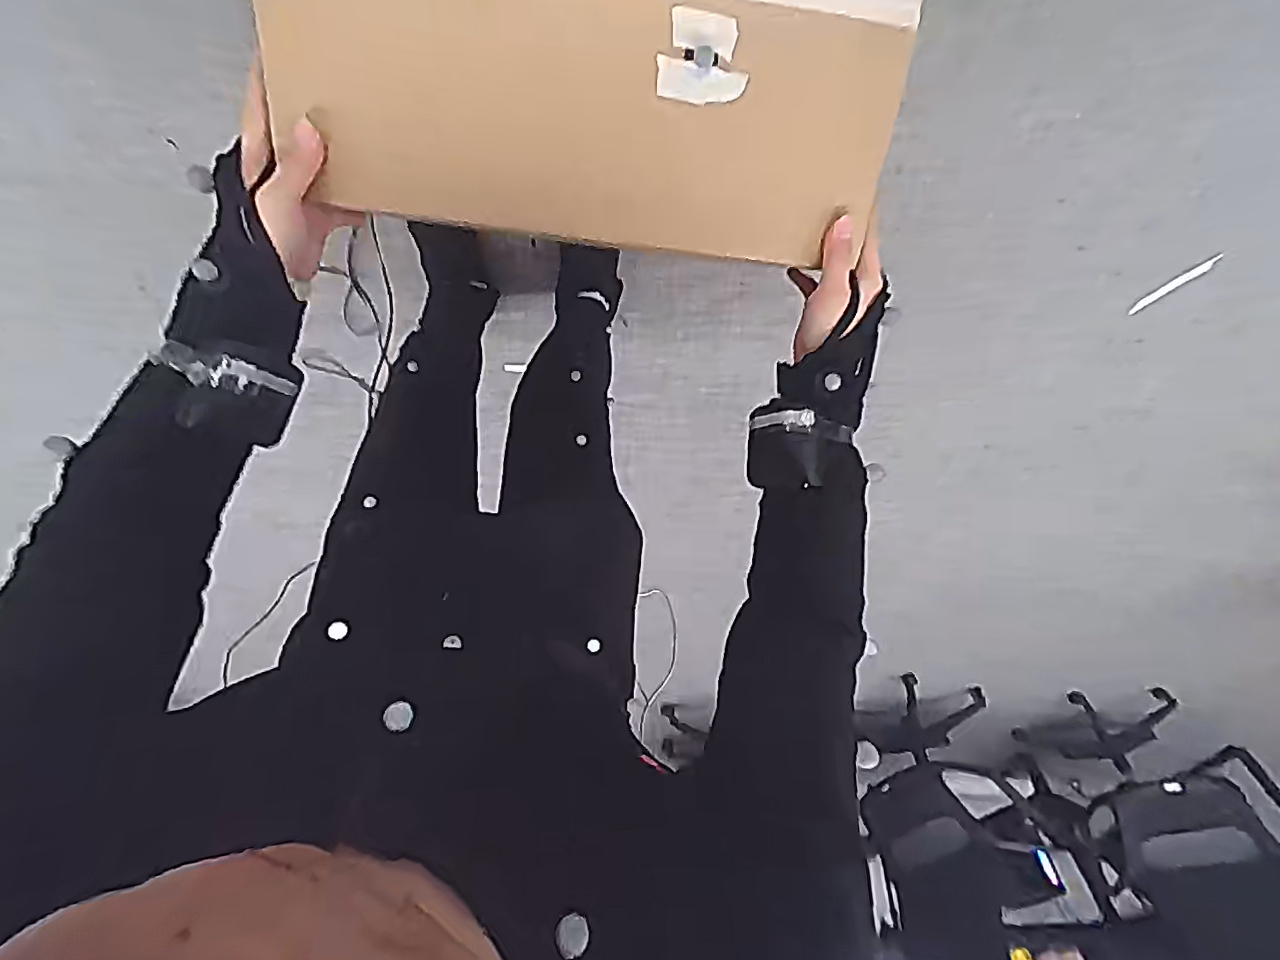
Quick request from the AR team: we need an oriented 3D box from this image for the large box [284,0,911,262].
[{"bbox_3d":[-0.032,-0.377,0.476,0.408,0.320,0.320,4,113,-7],"label":"large box"}]
